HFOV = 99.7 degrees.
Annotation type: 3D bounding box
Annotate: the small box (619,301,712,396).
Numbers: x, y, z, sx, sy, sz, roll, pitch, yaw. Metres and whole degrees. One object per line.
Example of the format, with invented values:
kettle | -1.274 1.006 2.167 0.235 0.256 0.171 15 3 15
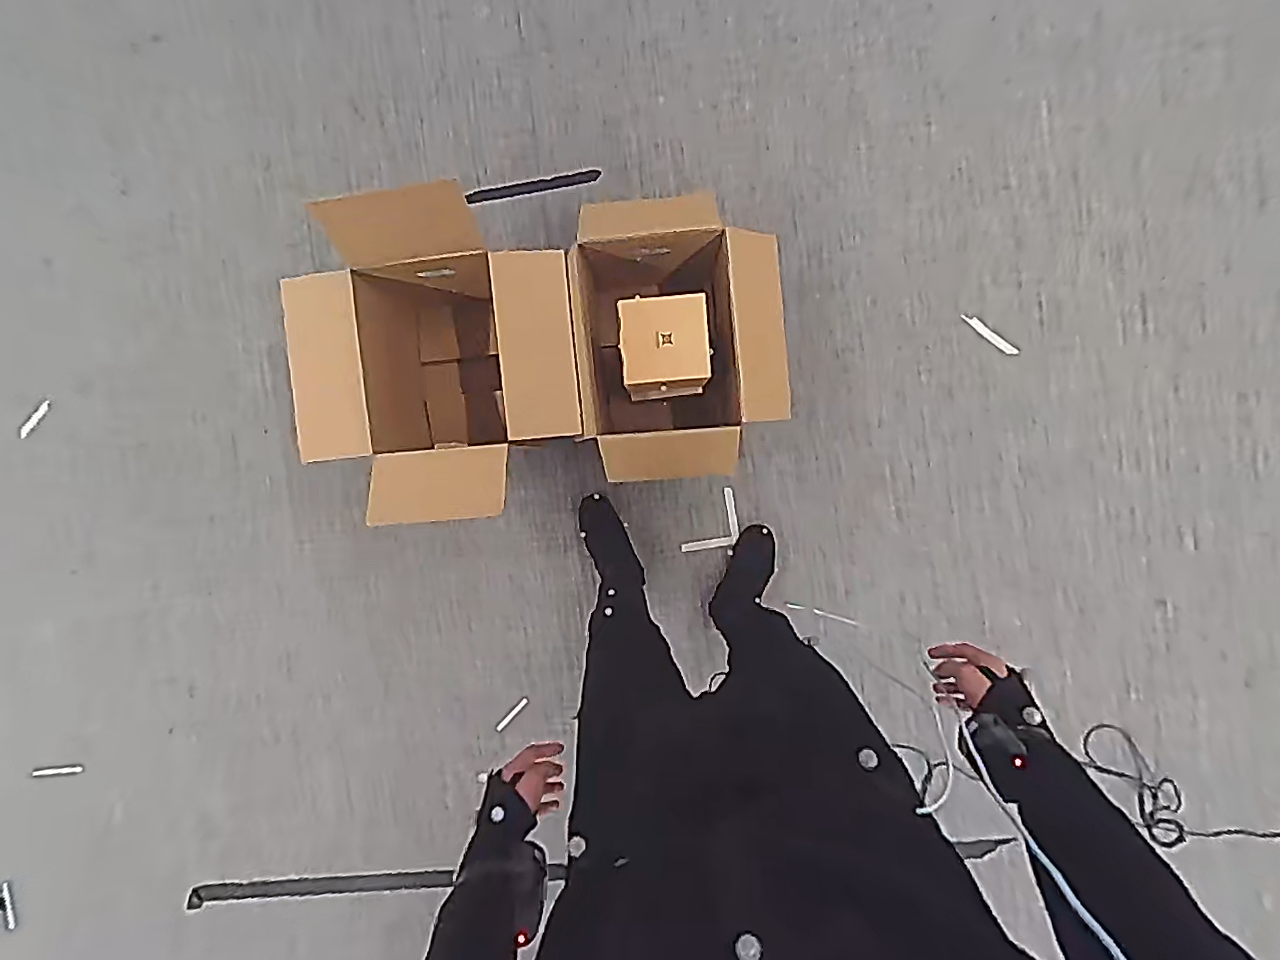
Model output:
small box | 0.053 -0.271 1.145 0.179 0.176 0.168 -5 94 3
